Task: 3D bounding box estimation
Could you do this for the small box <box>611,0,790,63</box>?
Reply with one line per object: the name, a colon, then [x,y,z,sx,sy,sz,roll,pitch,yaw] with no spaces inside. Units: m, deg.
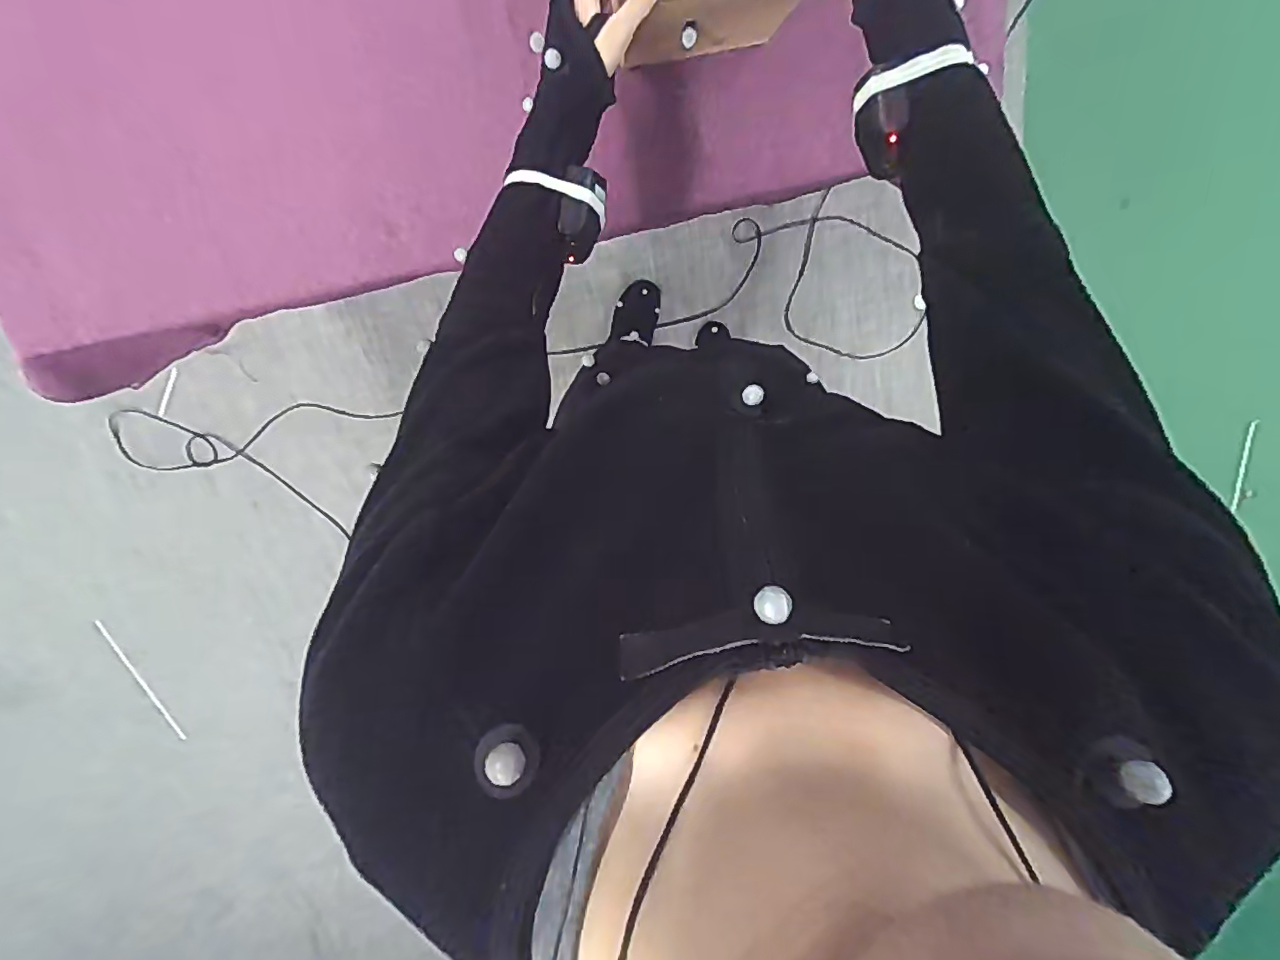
small box: [0.053,-0.515,0.492,0.168,0.176,0.179,-11,111,0]
